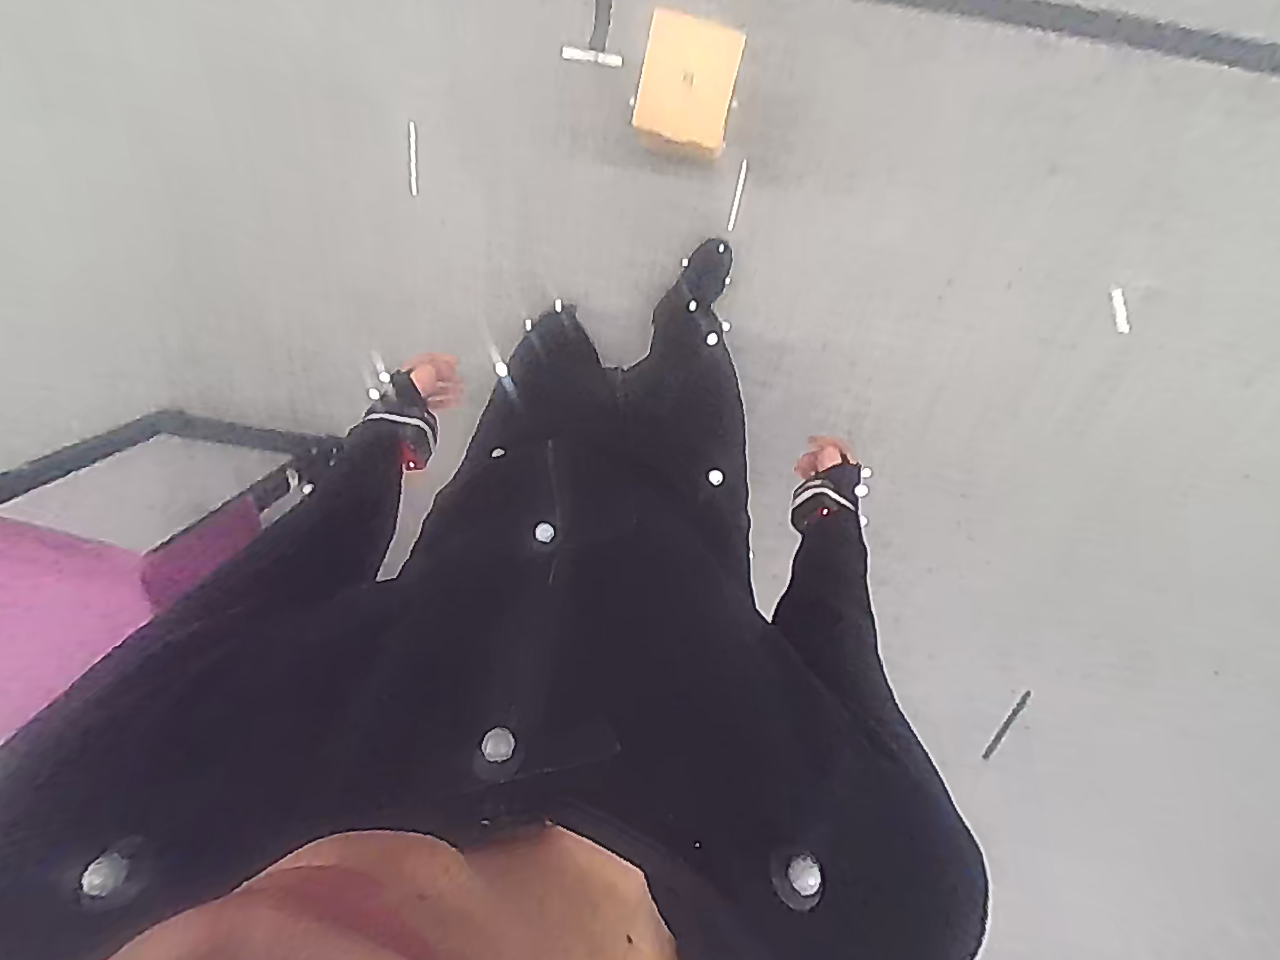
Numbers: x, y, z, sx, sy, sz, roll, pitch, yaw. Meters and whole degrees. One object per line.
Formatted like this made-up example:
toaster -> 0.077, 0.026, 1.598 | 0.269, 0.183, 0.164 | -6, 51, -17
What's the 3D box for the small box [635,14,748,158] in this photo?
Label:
small box -> 0.092, -0.736, 1.031 | 0.168, 0.176, 0.179 | 13, 118, -3
